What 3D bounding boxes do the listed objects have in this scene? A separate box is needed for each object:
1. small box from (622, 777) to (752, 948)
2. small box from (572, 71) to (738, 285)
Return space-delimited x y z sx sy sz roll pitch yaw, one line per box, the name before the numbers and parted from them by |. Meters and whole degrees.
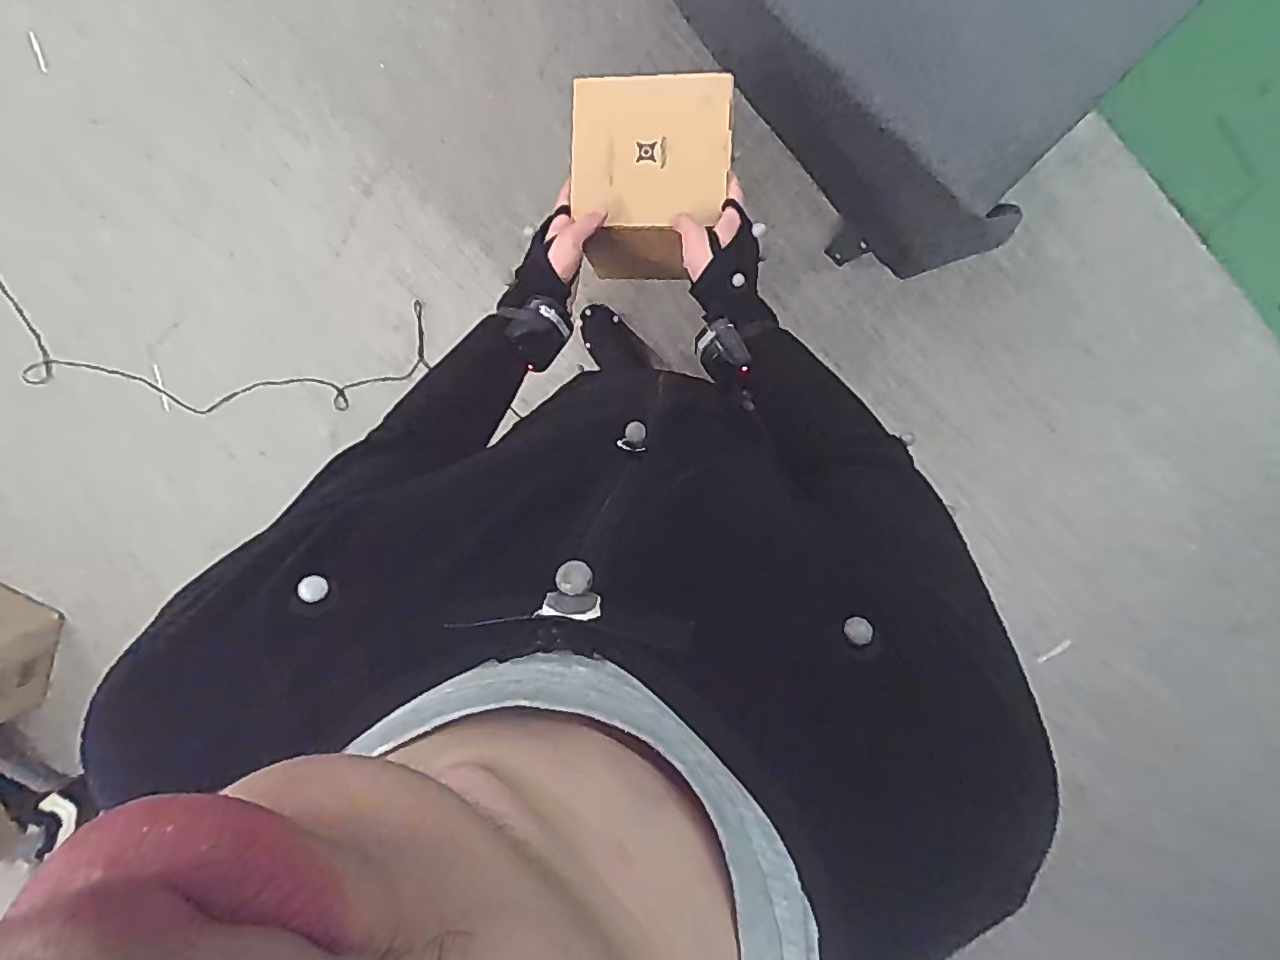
small box | 0.090 0.725 1.039 0.168 0.176 0.179 44 103 -8
small box | 0.021 -0.345 0.649 0.179 0.176 0.168 0 89 5
